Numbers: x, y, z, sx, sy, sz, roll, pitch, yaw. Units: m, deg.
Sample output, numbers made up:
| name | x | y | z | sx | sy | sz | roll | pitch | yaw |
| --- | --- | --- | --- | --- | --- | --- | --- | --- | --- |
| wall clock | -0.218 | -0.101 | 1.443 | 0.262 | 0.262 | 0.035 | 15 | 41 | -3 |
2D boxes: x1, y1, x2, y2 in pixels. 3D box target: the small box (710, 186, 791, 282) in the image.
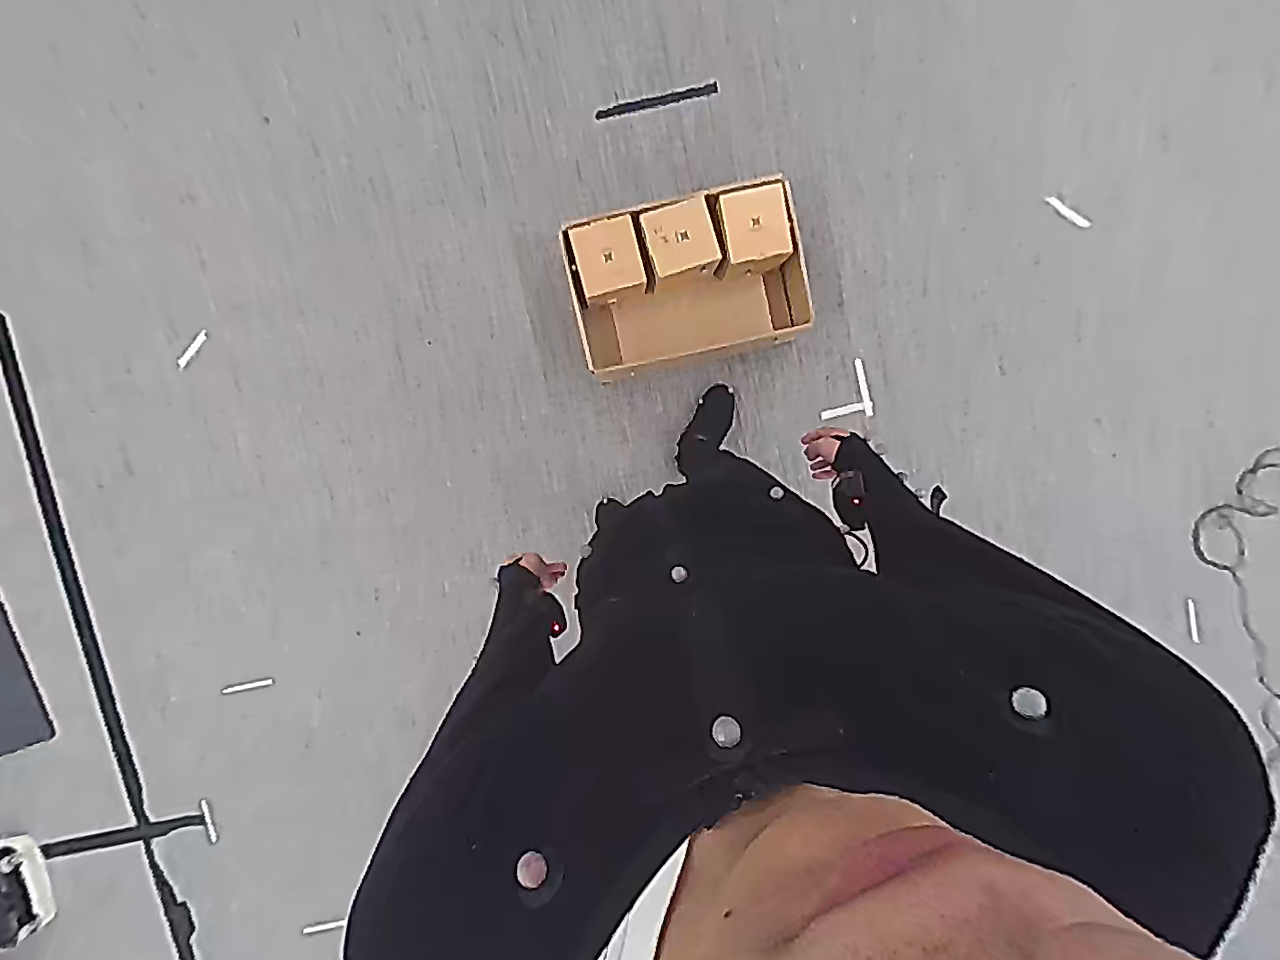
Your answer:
| name | x | y | z | sx | sy | sz | roll | pitch | yaw |
| --- | --- | --- | --- | --- | --- | --- | --- | --- | --- |
| small box | 0.293 | -0.658 | 1.464 | 0.168 | 0.176 | 0.179 | -12 | 97 | 1 |
